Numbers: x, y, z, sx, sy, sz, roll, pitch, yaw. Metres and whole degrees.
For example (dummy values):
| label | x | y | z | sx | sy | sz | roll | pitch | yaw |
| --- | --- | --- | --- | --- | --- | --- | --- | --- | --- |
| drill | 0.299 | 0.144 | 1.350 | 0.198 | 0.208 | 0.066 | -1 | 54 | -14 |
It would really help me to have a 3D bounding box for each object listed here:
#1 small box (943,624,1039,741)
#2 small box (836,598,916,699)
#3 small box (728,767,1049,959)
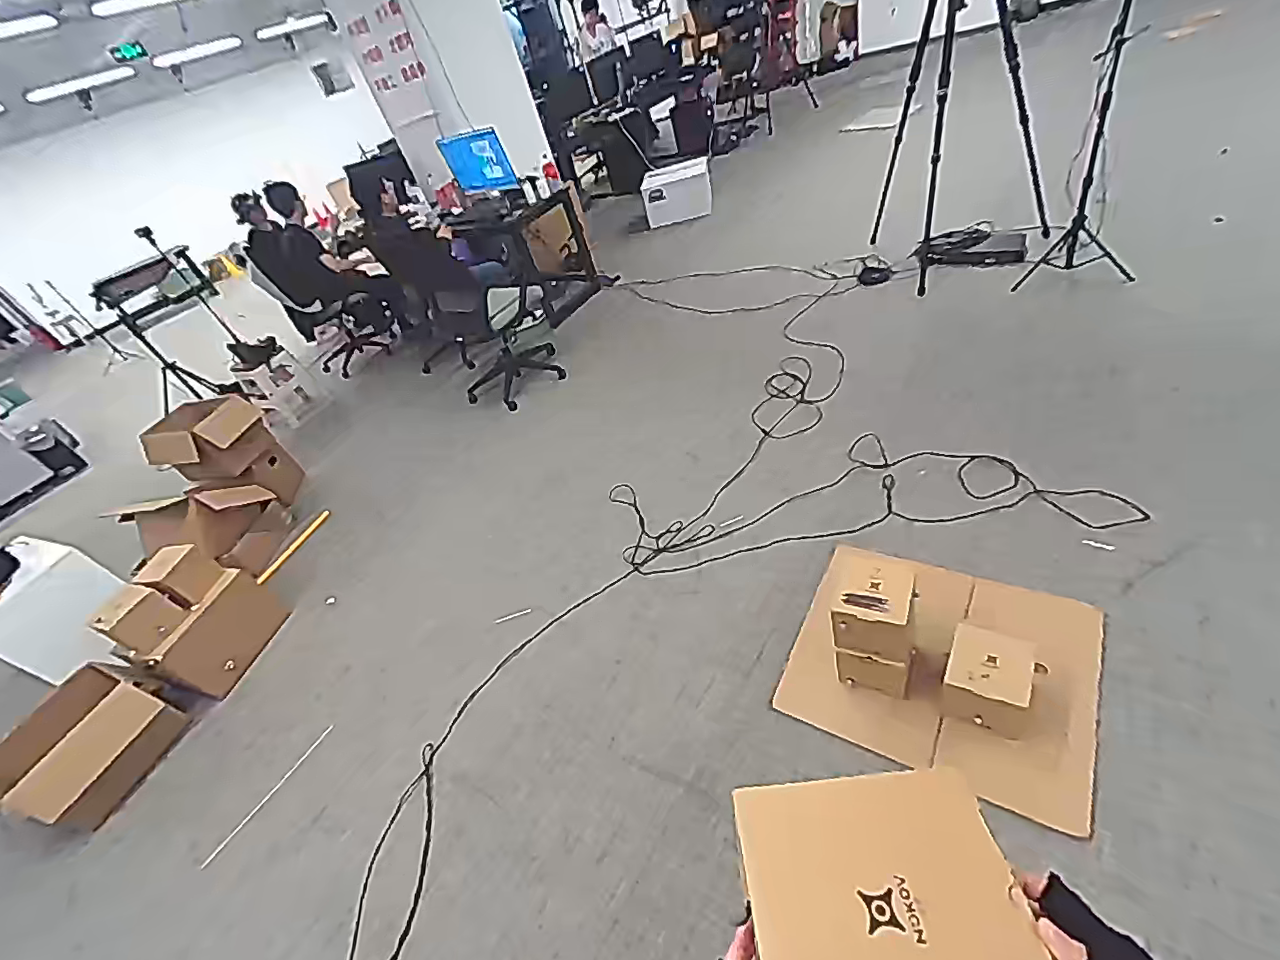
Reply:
| label | x | y | z | sx | sy | sz | roll | pitch | yaw |
| --- | --- | --- | --- | --- | --- | --- | --- | --- | --- |
| small box | 0.840 | 0.486 | 1.303 | 0.168 | 0.176 | 0.179 | 11 | 50 | 35 |
| small box | 0.631 | 0.449 | 1.437 | 0.168 | 0.176 | 0.179 | 8 | 47 | 32 |
| small box | 0.166 | 0.339 | 0.395 | 0.179 | 0.176 | 0.168 | -7 | 38 | 3 |
